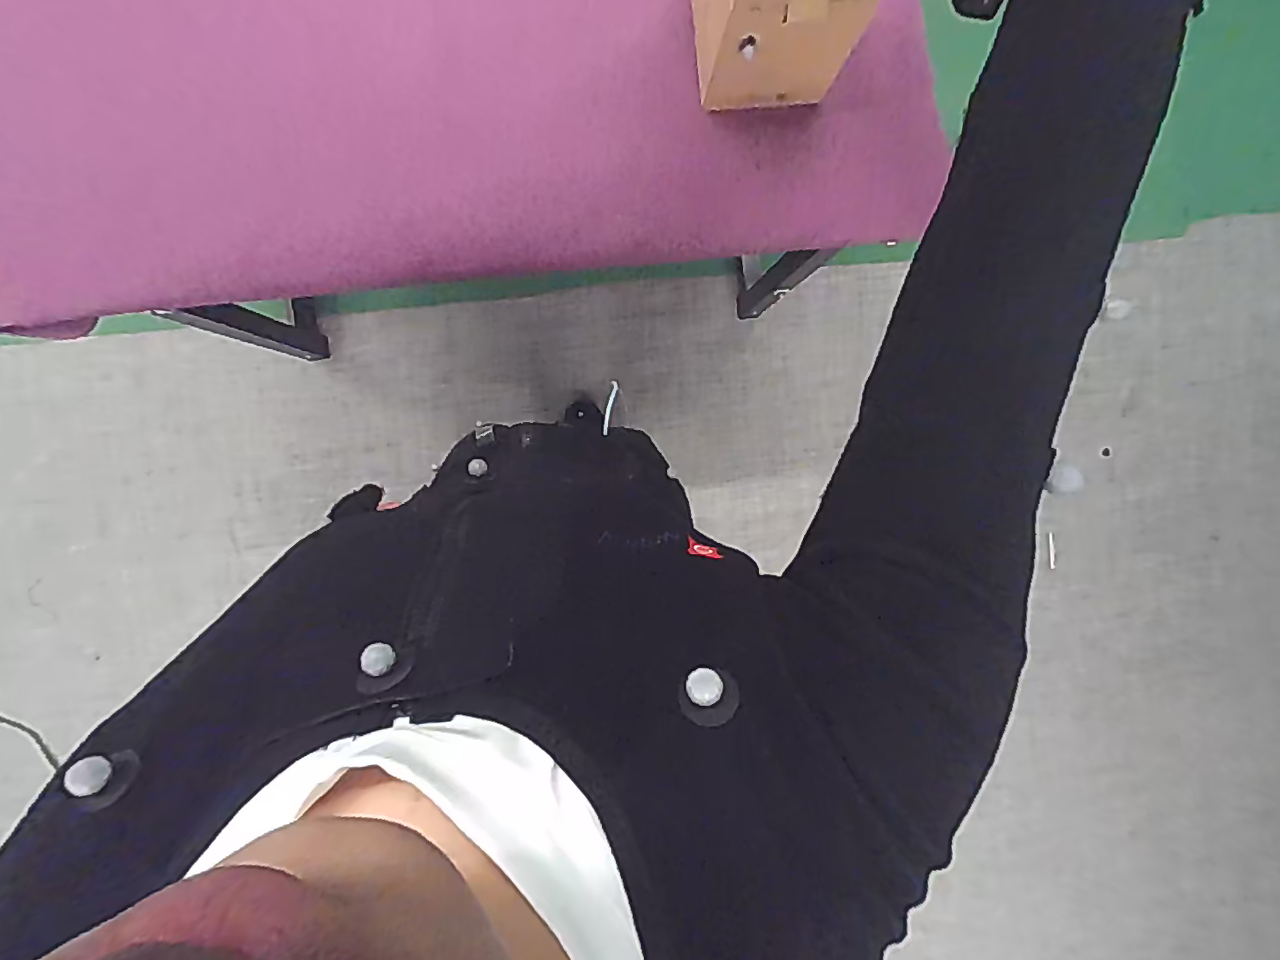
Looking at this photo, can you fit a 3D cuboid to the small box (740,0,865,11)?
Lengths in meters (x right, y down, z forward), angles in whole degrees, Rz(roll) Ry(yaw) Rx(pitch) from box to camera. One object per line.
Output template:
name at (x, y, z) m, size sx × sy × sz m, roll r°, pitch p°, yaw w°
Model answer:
small box at (0.169, -0.579, 0.482) m, size 0.168 × 0.176 × 0.179 m, roll -10°, pitch 94°, yaw -4°
